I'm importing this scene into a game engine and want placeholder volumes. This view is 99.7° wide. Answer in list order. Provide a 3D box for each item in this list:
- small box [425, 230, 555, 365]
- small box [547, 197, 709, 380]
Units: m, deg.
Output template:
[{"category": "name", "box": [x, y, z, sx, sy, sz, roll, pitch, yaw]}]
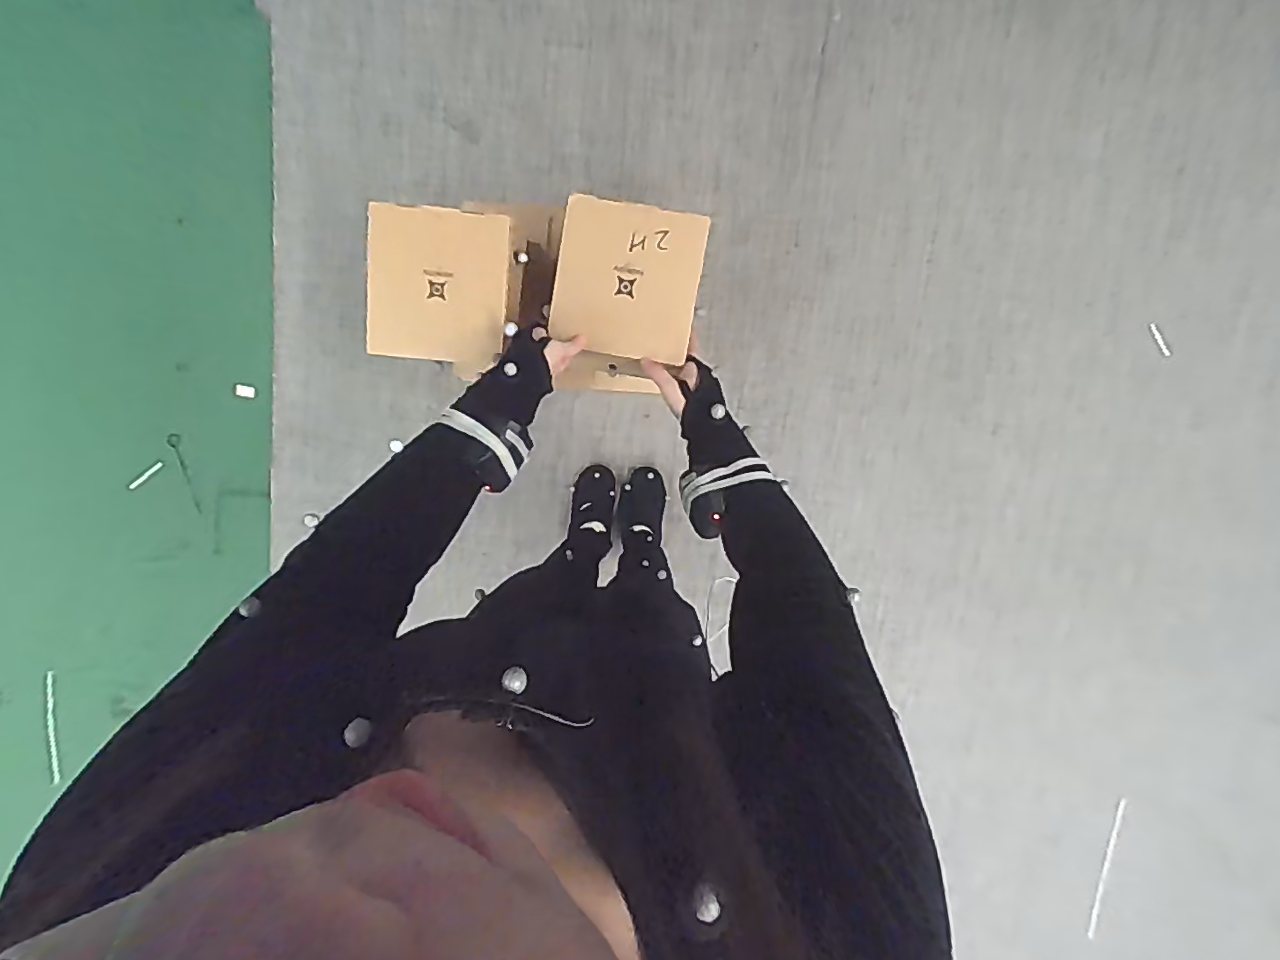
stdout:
[{"category": "small box", "box": [-0.236, -0.288, 0.886, 0.168, 0.176, 0.179, 6, 101, -1]}, {"category": "small box", "box": [-0.014, -0.235, 0.713, 0.168, 0.176, 0.179, 11, 95, -1]}]
